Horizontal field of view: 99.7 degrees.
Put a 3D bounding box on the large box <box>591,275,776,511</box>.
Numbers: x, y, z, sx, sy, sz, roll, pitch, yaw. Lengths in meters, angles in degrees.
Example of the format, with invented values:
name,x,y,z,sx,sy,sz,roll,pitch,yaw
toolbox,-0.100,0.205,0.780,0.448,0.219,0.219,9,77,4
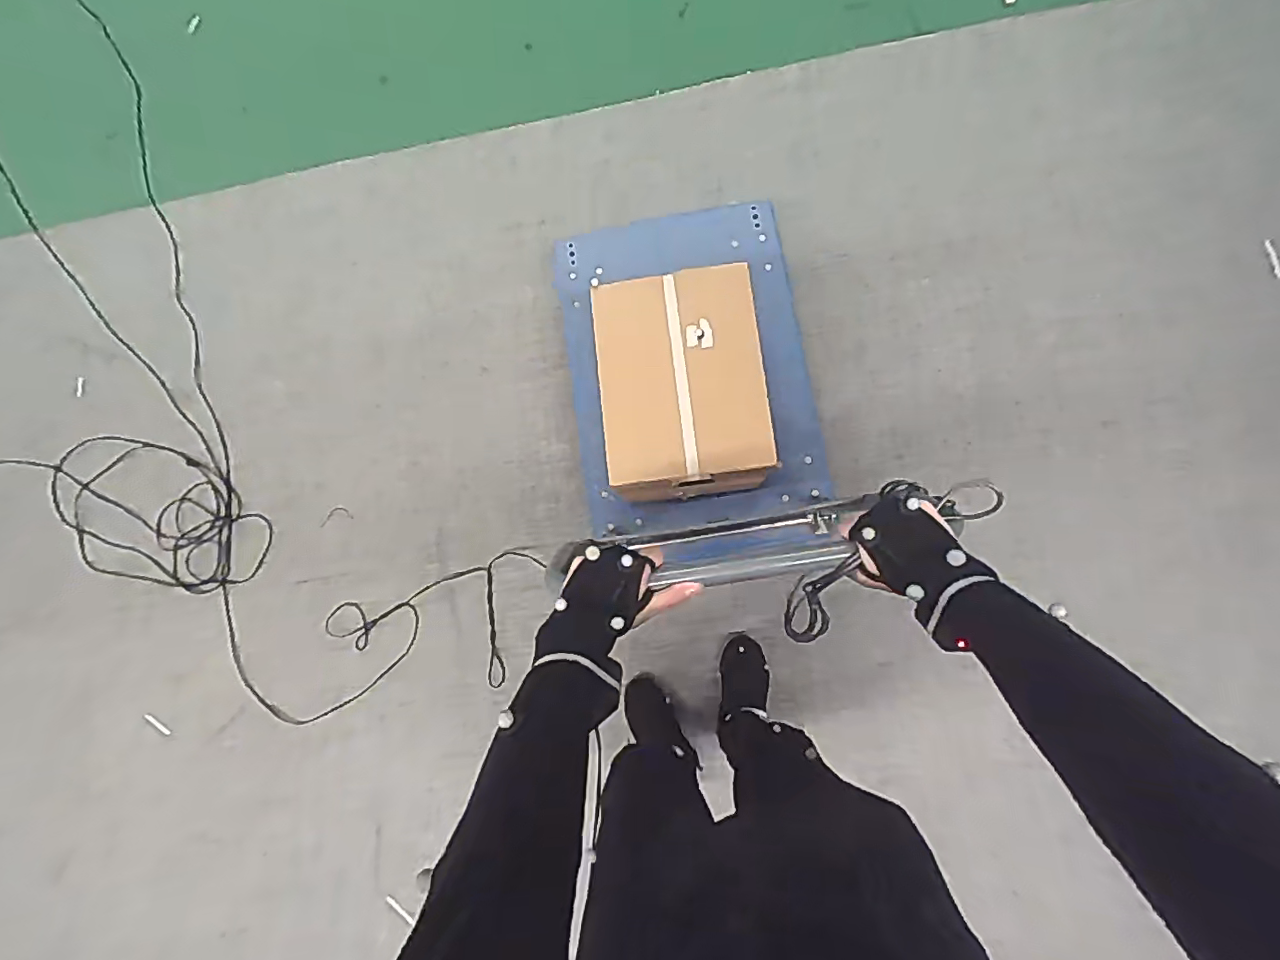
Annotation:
name,x,y,z,sx,sy,sz,roll,pitch,yaw
large box,0.092,-0.163,1.177,0.320,0.320,0.408,-7,80,5
